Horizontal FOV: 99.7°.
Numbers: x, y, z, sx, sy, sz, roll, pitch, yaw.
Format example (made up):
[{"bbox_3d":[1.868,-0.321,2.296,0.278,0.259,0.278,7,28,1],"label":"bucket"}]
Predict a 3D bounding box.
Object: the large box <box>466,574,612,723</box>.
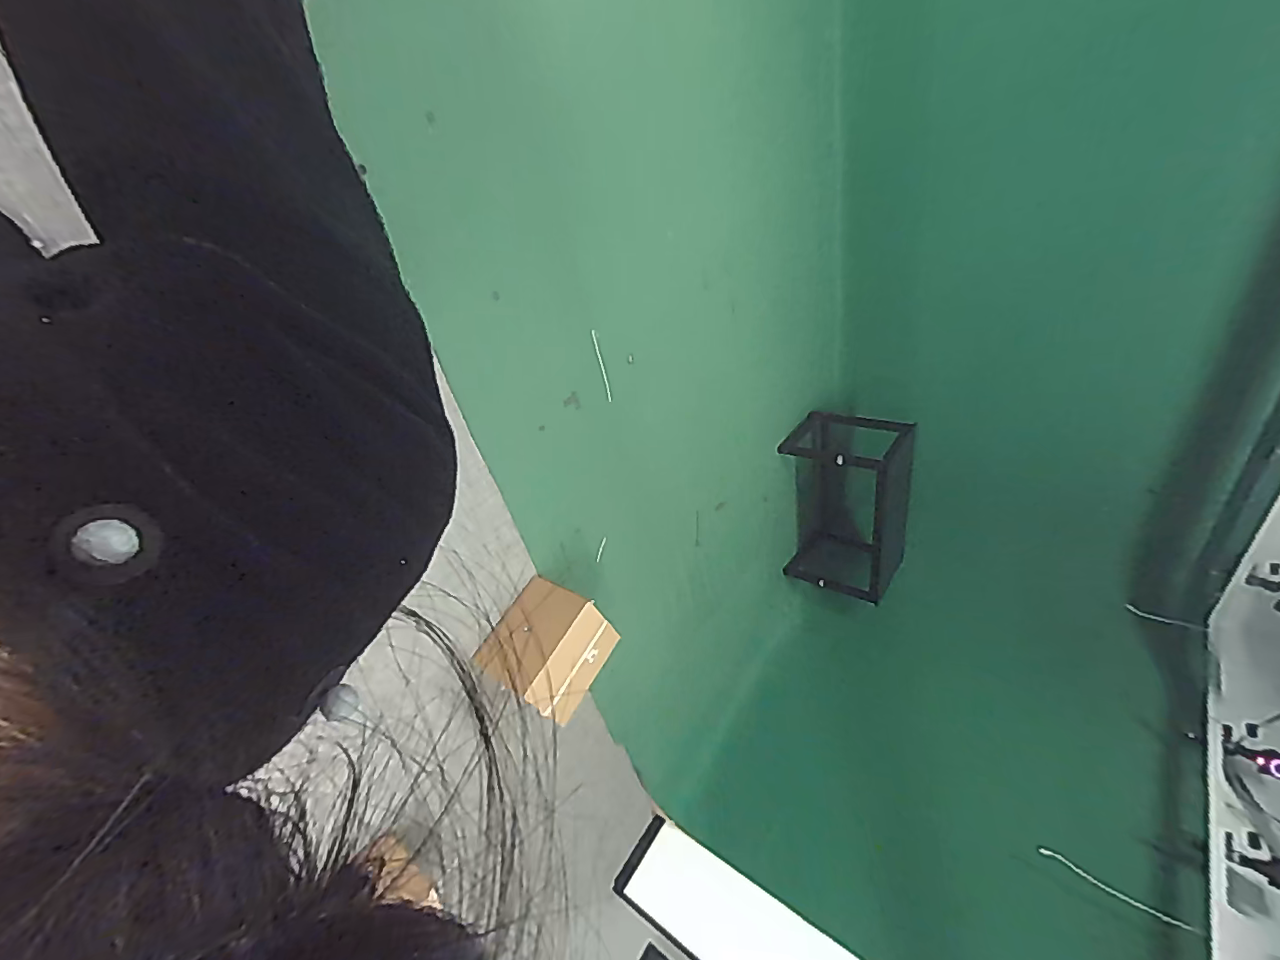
[{"bbox_3d":[-0.381,0.643,2.093,0.408,0.320,0.320,-55,140,-26],"label":"large box"}]
